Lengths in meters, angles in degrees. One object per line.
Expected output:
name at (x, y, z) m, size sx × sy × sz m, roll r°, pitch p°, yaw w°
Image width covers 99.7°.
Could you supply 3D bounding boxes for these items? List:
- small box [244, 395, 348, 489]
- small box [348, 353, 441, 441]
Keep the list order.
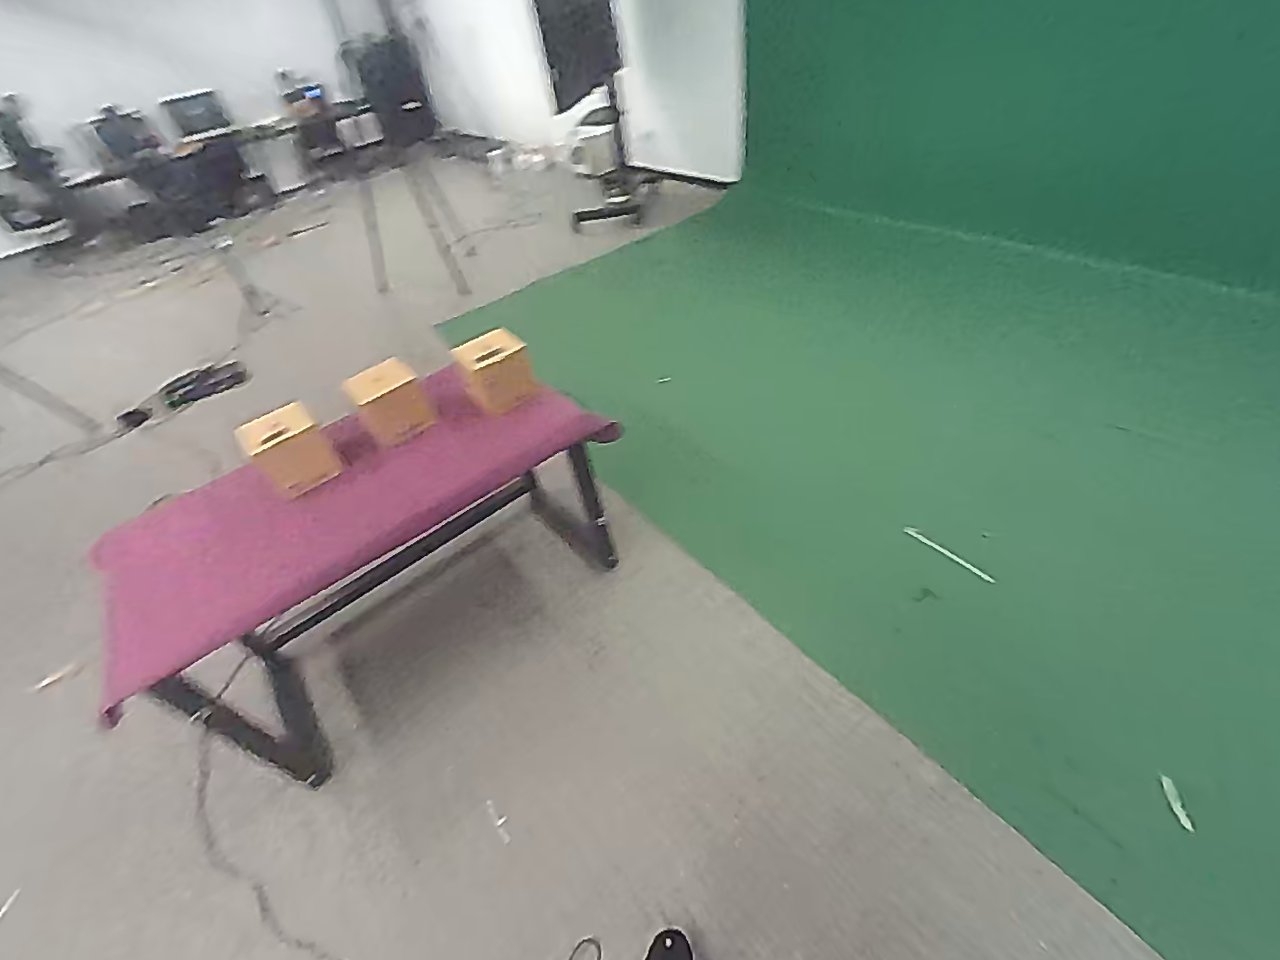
small box at (-0.943, -0.100, 1.494) m, size 0.168 × 0.176 × 0.179 m, roll -34°, pitch 48°, yaw -23°
small box at (-0.722, -0.243, 1.601) m, size 0.168 × 0.176 × 0.179 m, roll -35°, pitch 50°, yaw -22°
